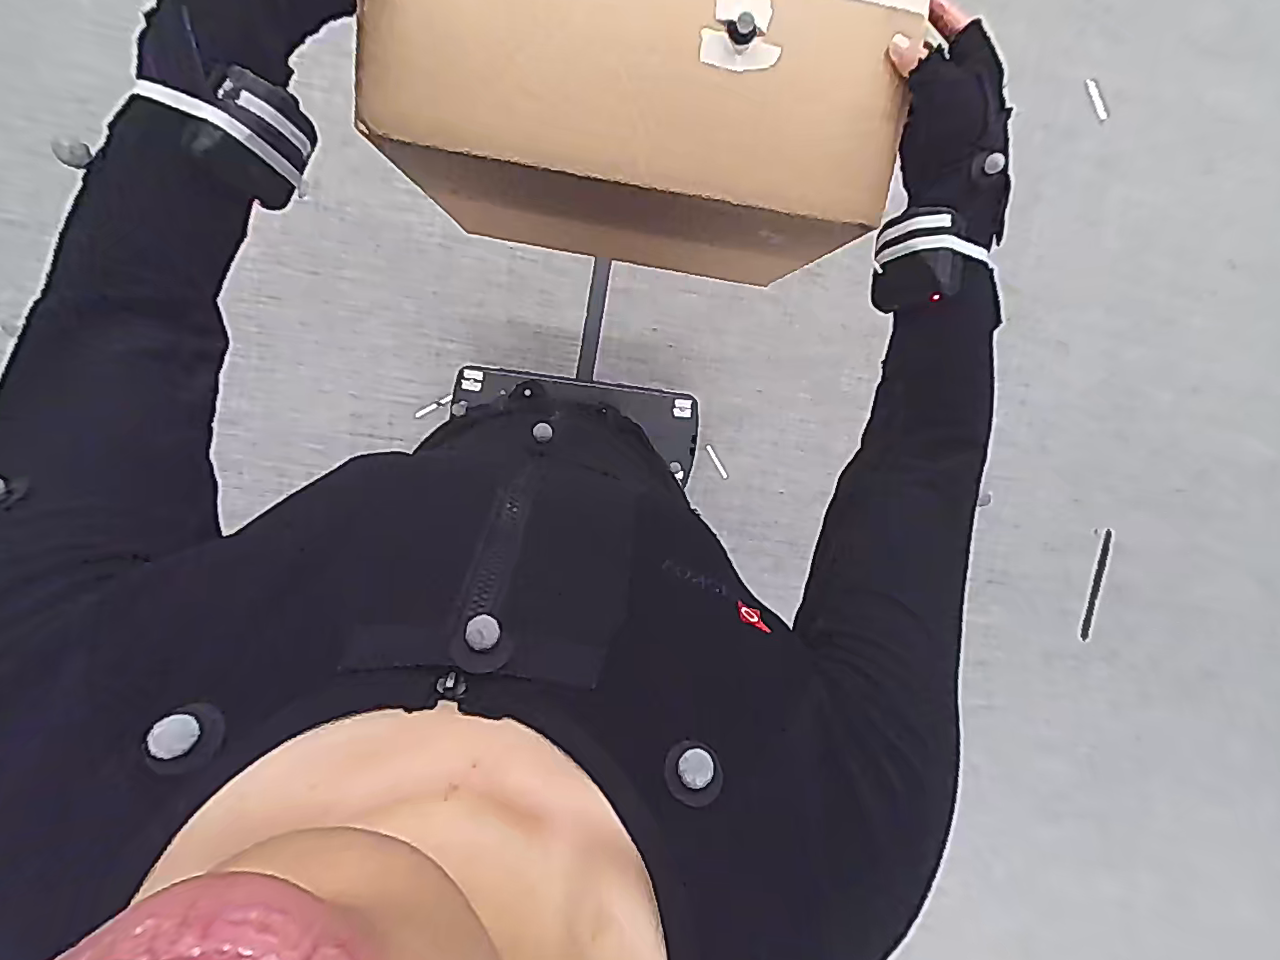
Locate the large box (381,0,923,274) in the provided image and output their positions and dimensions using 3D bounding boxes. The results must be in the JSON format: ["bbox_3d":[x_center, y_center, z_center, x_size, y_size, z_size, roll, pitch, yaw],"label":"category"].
[{"bbox_3d":[0.008,-0.416,0.538,0.408,0.320,0.320,7,102,-6],"label":"large box"}]

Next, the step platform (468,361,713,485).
[{"bbox_3d":[-0.136,-0.161,1.552,0.684,0.204,0.286,6,98,-6],"label":"step platform"}]
